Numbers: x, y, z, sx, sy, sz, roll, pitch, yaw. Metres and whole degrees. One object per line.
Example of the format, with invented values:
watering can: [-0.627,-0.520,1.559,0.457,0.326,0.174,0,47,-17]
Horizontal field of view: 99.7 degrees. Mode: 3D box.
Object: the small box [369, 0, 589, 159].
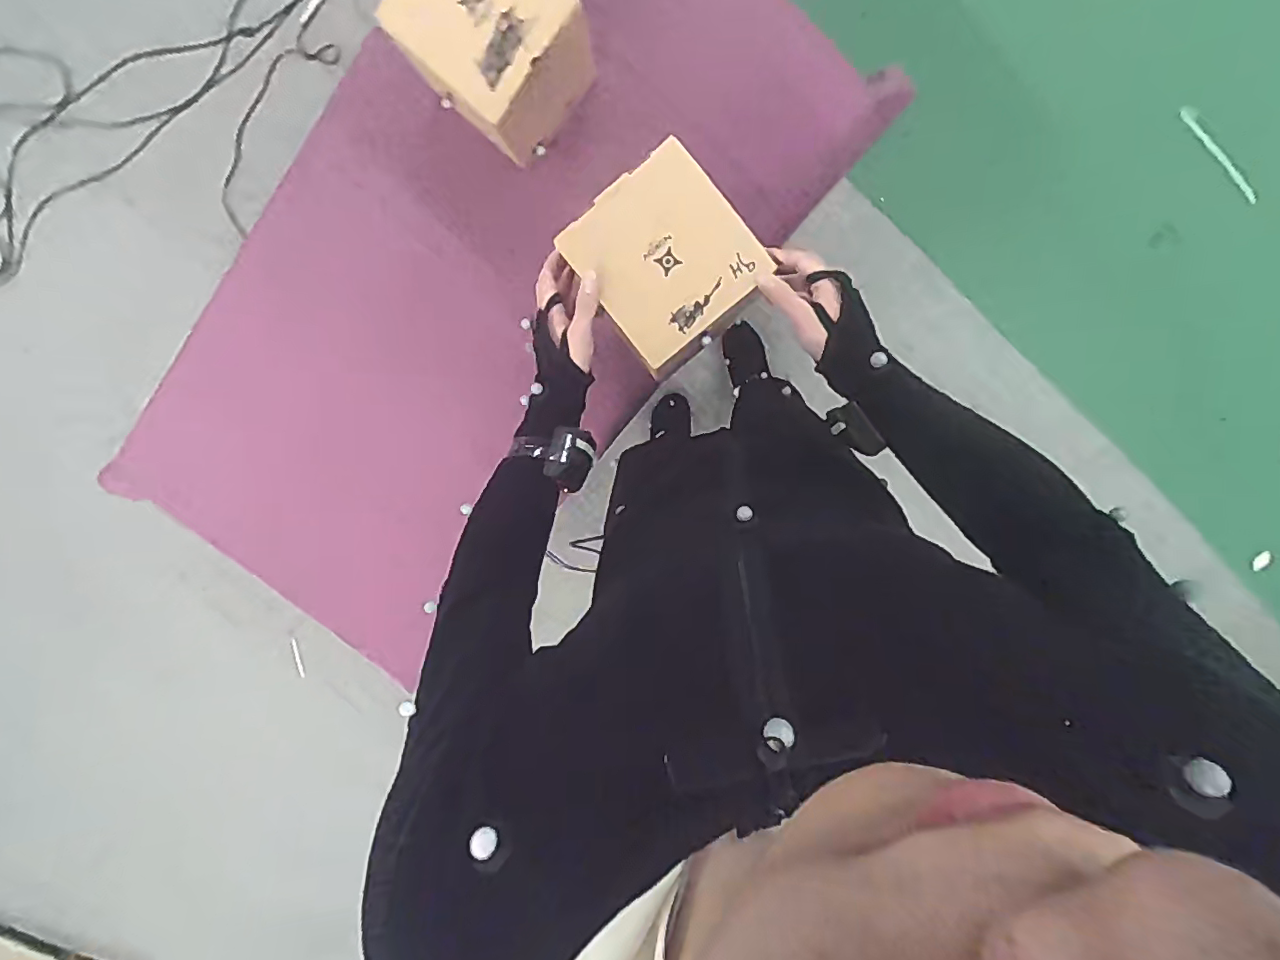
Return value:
small box: [-0.184,-0.540,0.676,0.179,0.176,0.168,40,101,-6]
